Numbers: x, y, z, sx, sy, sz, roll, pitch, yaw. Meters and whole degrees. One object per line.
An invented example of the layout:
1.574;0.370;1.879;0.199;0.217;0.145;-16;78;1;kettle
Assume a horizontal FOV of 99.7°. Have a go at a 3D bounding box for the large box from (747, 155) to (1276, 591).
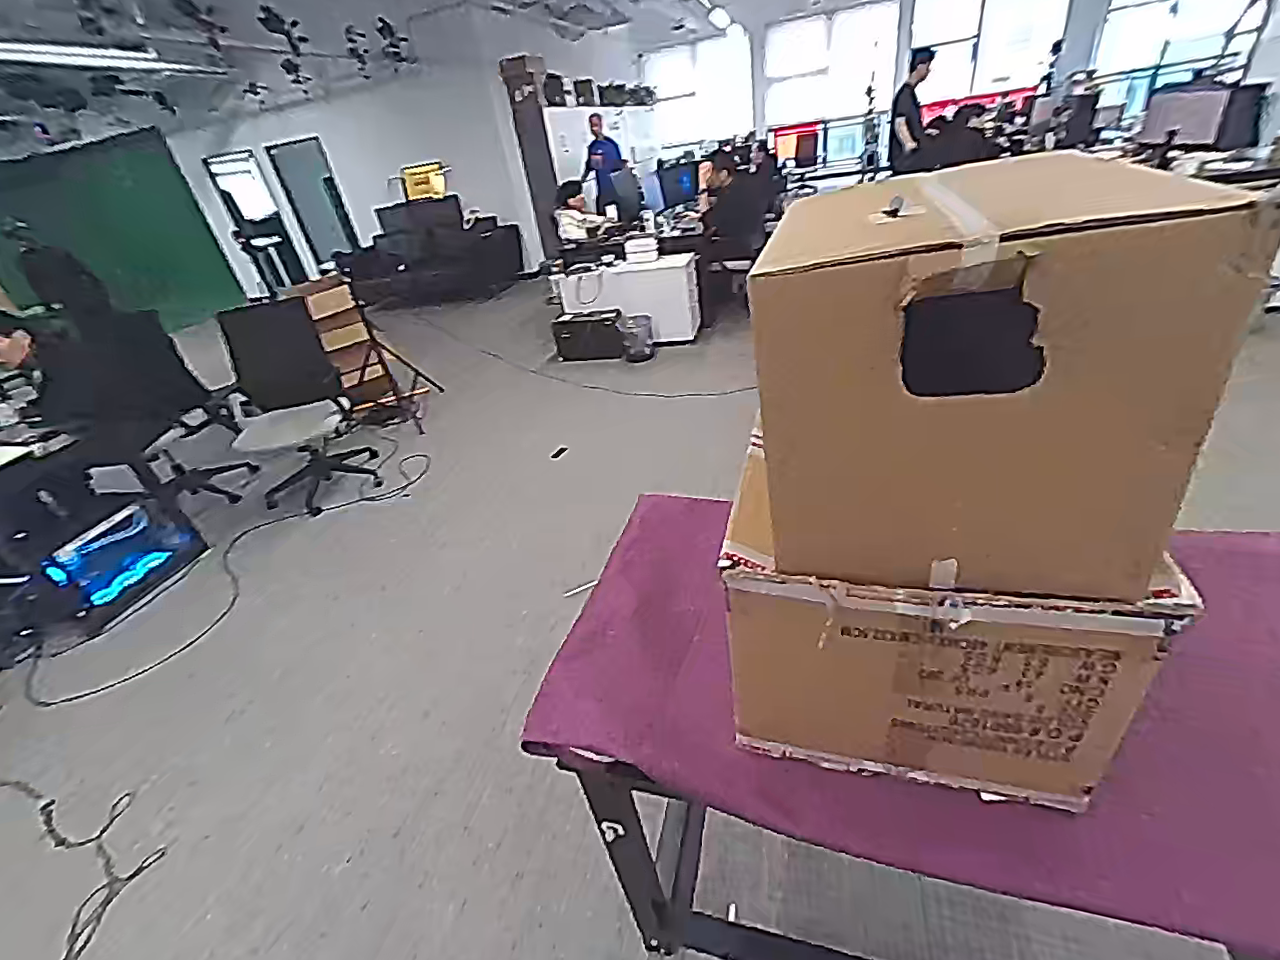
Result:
0.309;-0.135;0.594;0.320;0.320;0.408;-1;33;21;large box
